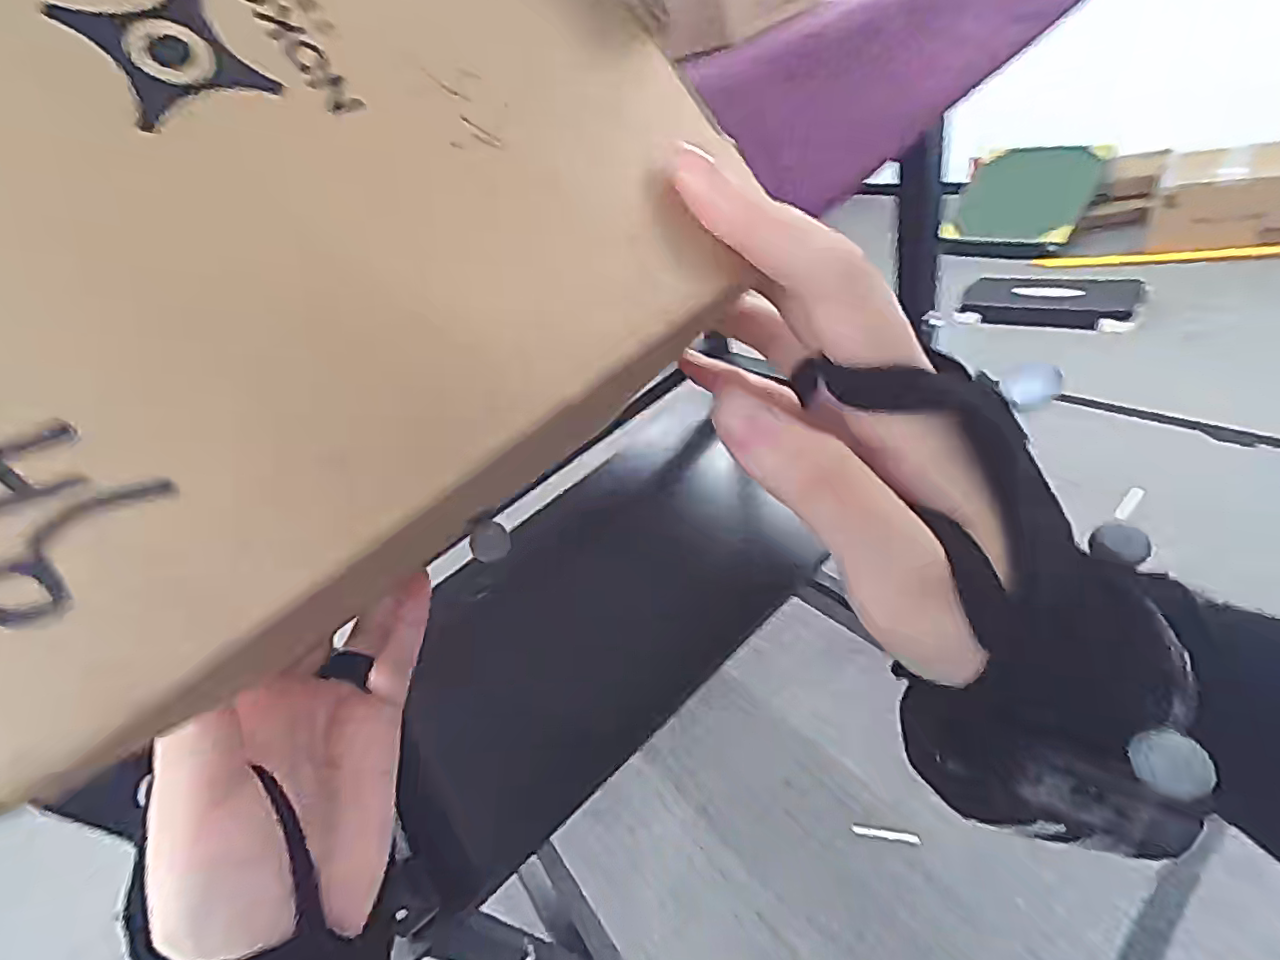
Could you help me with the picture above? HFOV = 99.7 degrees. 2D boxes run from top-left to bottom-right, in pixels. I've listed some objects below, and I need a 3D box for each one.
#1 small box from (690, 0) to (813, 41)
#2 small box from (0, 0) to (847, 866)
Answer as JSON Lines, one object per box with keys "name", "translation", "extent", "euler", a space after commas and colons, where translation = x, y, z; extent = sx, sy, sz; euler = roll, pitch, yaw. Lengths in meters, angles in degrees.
{"name": "small box", "translation": [0.083, -0.621, 0.629], "extent": [0.168, 0.176, 0.179], "euler": [-36, 41, -16]}
{"name": "small box", "translation": [-0.089, -0.054, 0.156], "extent": [0.179, 0.168, 0.176], "euler": [-39, 4, -25]}
